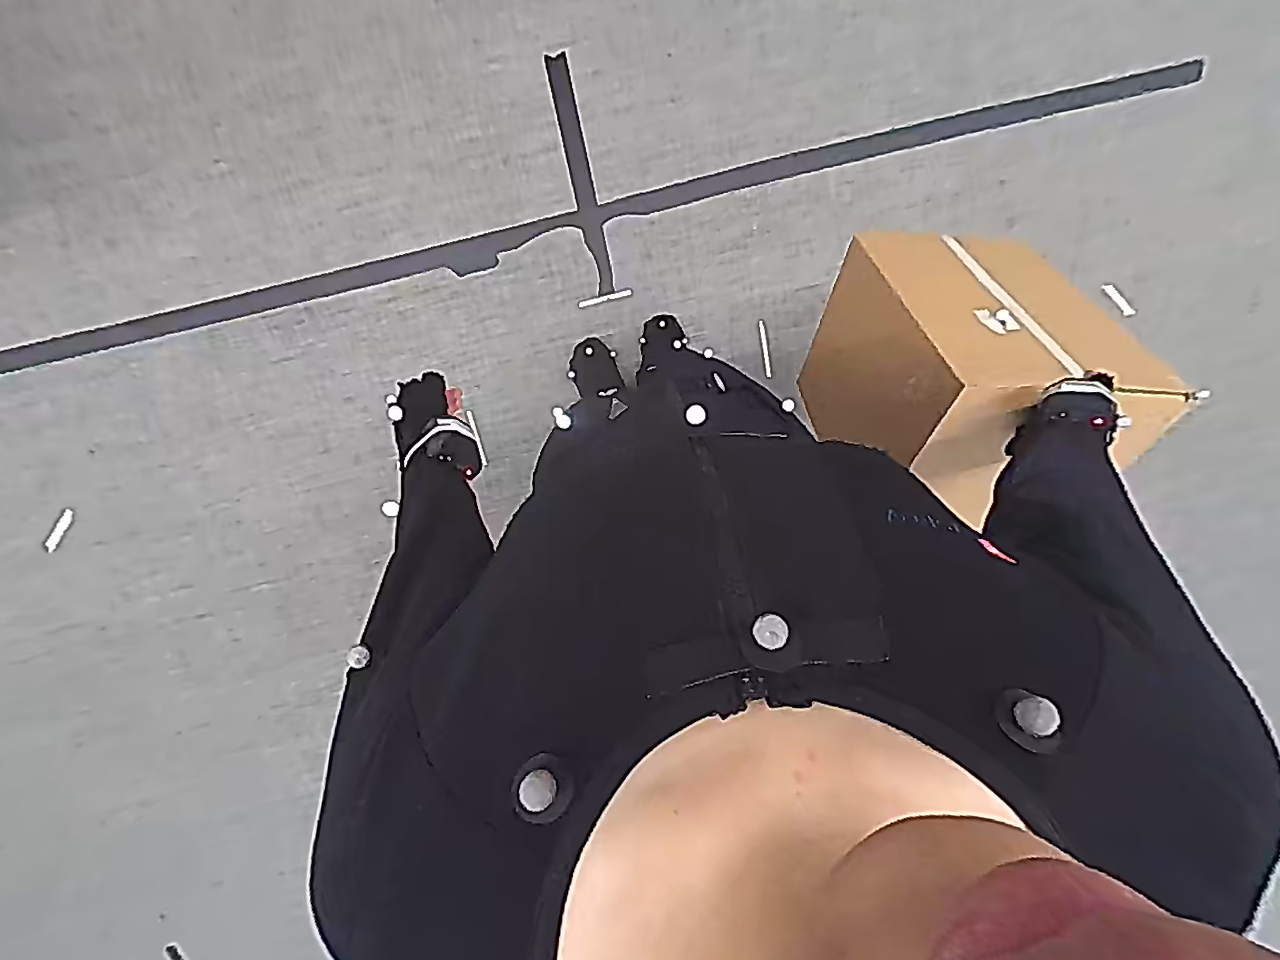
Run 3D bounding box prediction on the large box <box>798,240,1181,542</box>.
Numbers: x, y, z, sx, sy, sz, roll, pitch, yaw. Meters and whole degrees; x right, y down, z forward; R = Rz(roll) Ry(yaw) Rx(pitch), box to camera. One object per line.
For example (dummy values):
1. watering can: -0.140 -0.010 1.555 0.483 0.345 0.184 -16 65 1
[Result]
1. large box: 0.504 -0.147 0.902 0.320 0.408 0.320 1 139 -6
